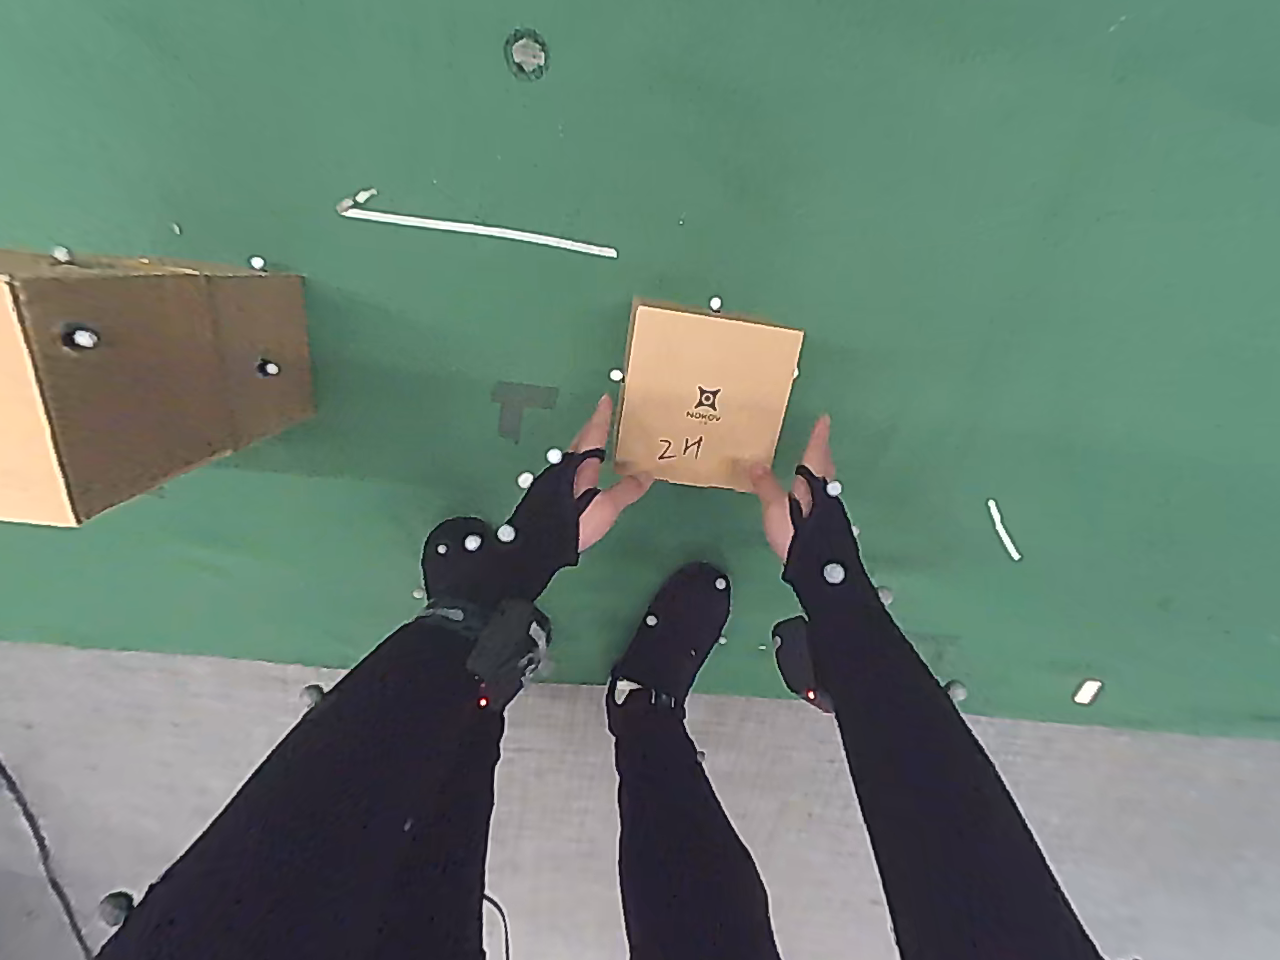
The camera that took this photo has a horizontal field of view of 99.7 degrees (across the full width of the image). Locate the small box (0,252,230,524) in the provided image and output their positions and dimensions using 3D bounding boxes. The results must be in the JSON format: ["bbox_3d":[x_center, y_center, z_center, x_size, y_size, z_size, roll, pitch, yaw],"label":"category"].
[{"bbox_3d":[-0.477,-0.084,0.440,0.168,0.176,0.179,6,110,-3],"label":"small box"}]

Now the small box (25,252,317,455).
[{"bbox_3d":[-0.483,-0.143,0.590,0.168,0.176,0.179,6,111,-3],"label":"small box"}]

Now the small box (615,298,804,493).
[{"bbox_3d":[0.063,-0.105,0.619,0.168,0.176,0.179,8,111,-5],"label":"small box"}]
